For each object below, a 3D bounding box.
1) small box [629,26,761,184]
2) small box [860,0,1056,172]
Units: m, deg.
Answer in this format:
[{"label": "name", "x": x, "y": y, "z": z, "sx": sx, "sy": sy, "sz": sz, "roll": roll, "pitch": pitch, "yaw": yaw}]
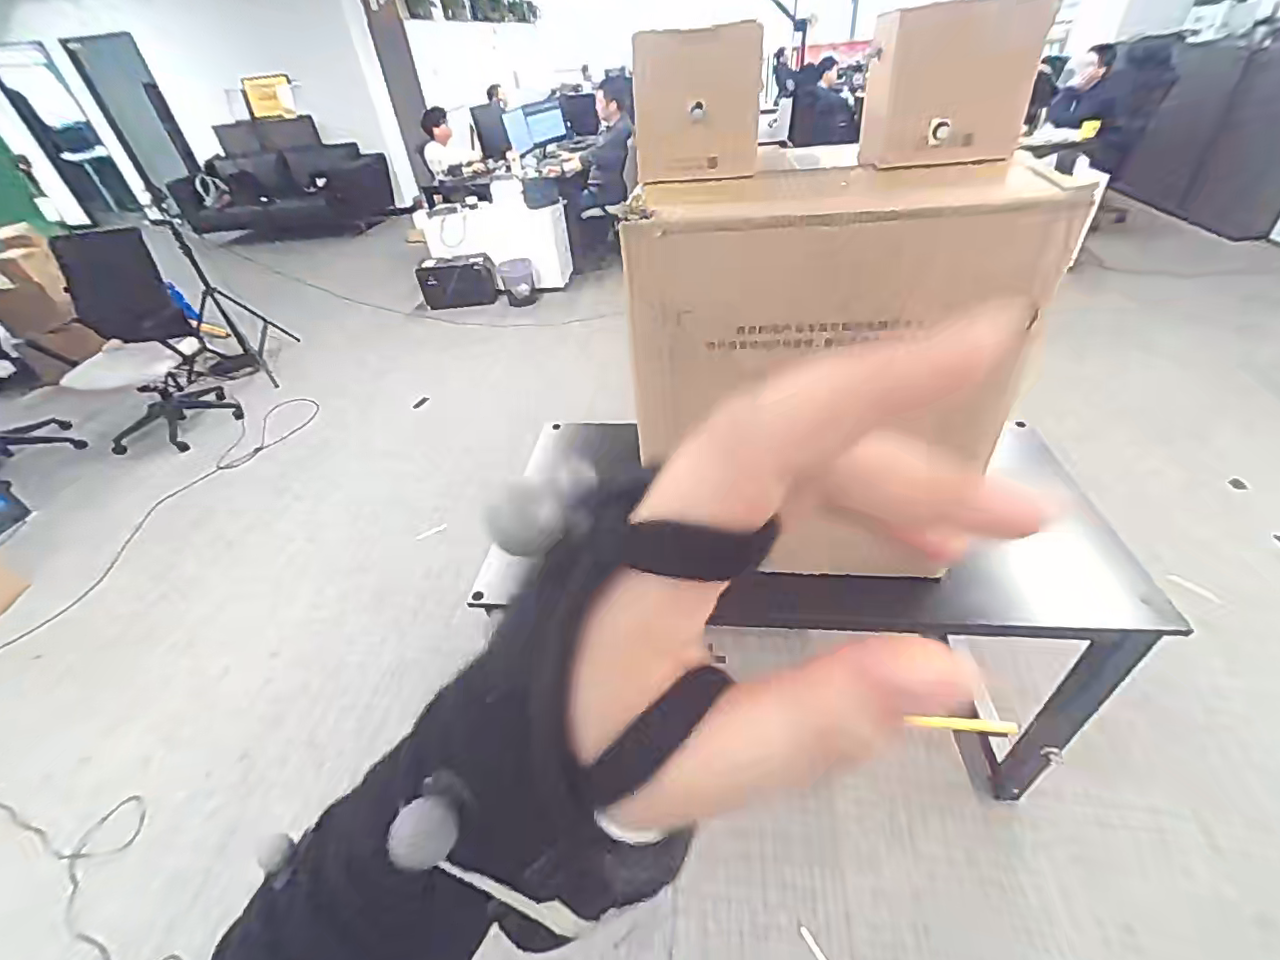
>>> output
[{"label": "small box", "x": 0.077, "y": -0.530, "z": 0.773, "sx": 0.168, "sy": 0.176, "sz": 0.179, "roll": -1, "pitch": 39, "yaw": 4}, {"label": "small box", "x": 0.400, "y": -0.521, "z": 0.721, "sx": 0.168, "sy": 0.176, "sz": 0.179, "roll": 0, "pitch": 39, "yaw": 11}]
